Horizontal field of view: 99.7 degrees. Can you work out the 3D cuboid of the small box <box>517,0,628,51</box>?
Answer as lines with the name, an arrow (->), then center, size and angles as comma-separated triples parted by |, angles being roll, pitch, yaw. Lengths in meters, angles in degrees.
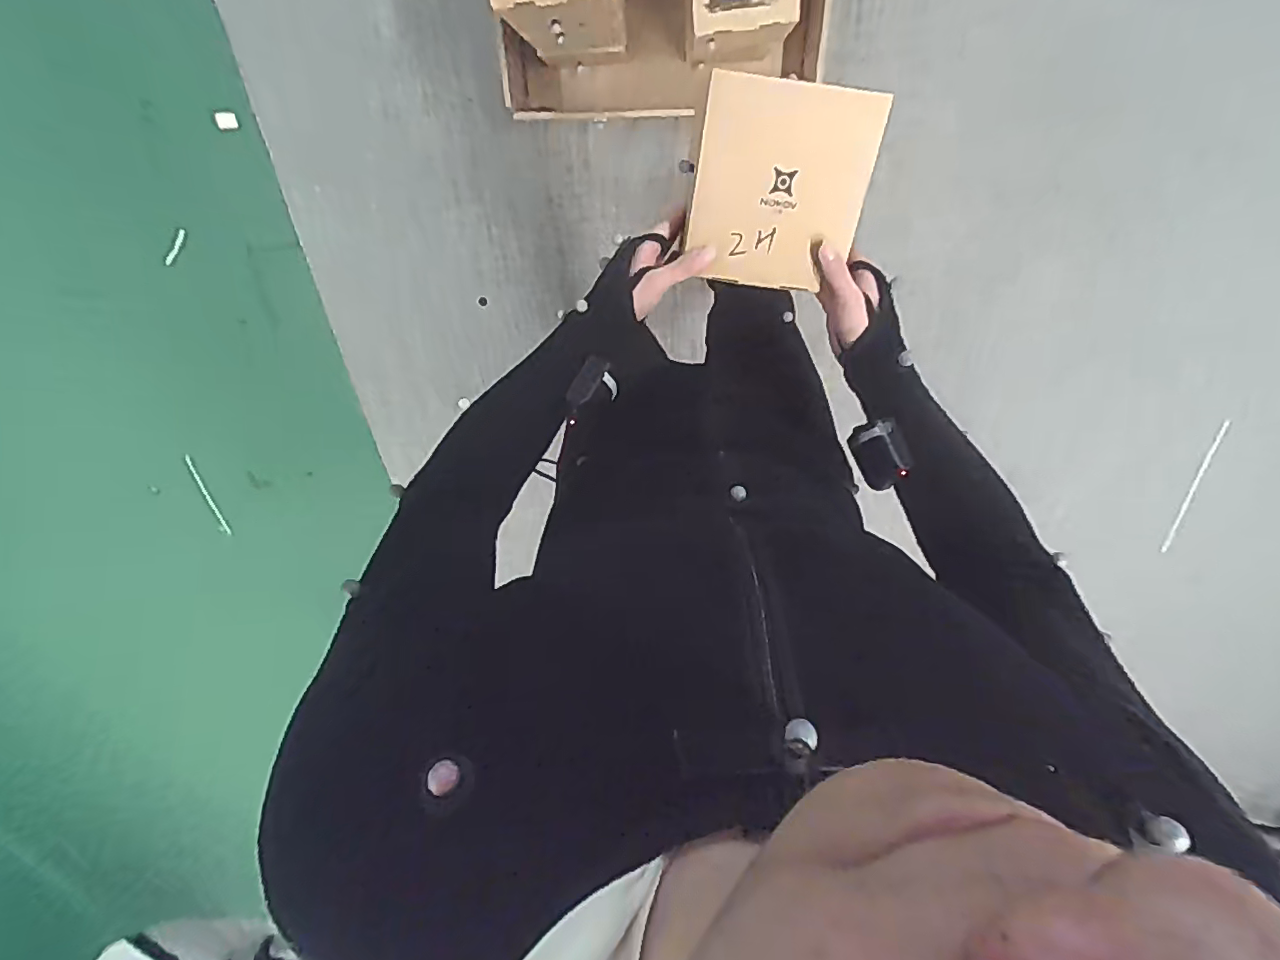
small box -> -0.110, -0.829, 0.879 | 0.168, 0.176, 0.179 | -1, 119, 5

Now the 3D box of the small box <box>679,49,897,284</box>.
small box -> 0.136, -0.324, 0.578 | 0.168, 0.176, 0.179 | 7, 120, -2

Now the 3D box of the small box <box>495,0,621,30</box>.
small box -> -0.118, -0.750, 0.737 | 0.168, 0.176, 0.179 | -3, 121, 5
